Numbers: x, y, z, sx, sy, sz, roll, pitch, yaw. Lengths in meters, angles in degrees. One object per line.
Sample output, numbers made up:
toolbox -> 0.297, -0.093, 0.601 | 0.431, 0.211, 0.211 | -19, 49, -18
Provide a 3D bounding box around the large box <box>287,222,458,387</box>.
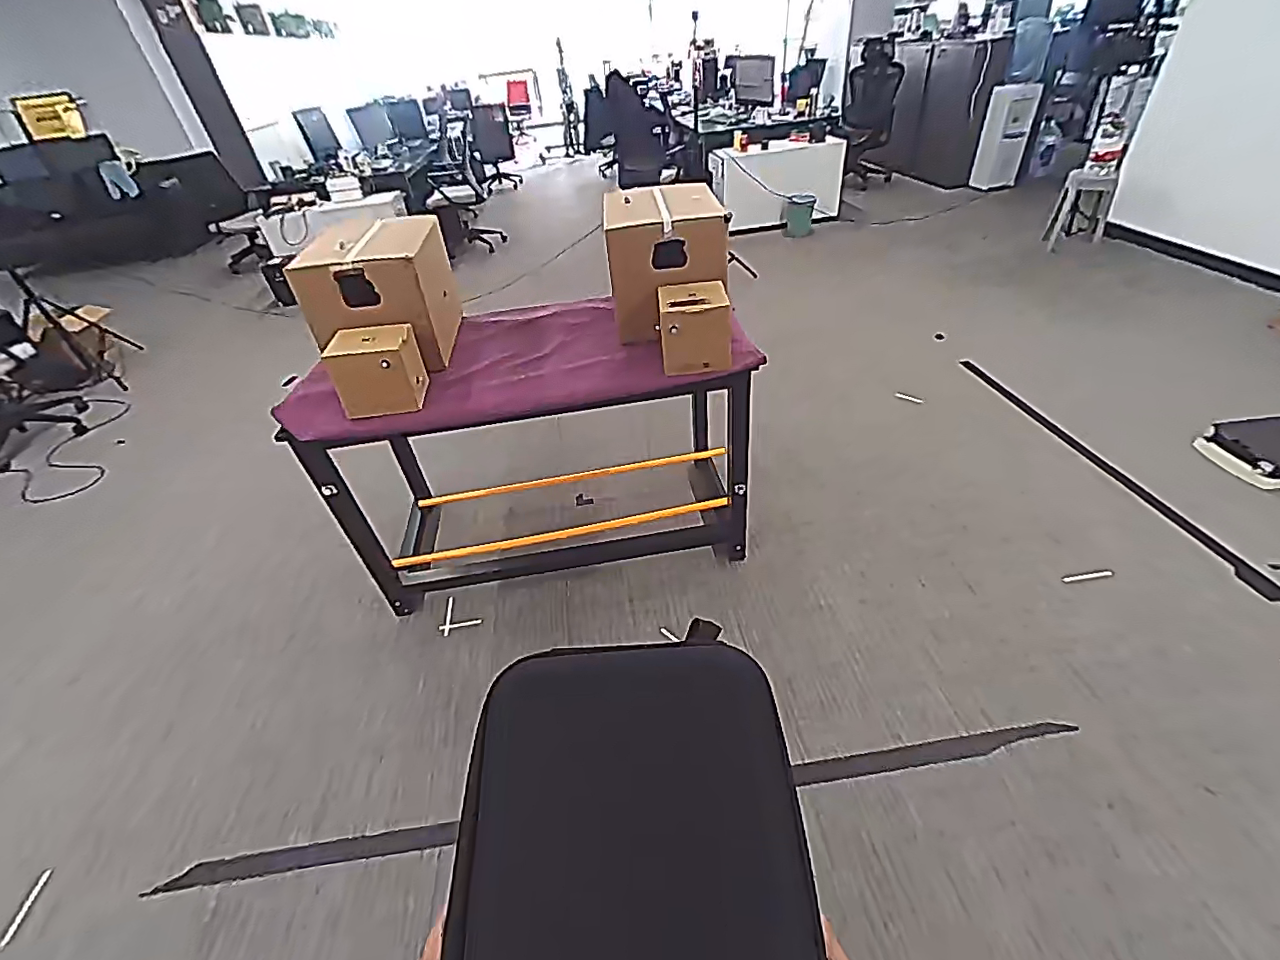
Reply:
large box -> -0.732, -0.517, 1.563 | 0.320, 0.320, 0.408 | -9, 41, -4
